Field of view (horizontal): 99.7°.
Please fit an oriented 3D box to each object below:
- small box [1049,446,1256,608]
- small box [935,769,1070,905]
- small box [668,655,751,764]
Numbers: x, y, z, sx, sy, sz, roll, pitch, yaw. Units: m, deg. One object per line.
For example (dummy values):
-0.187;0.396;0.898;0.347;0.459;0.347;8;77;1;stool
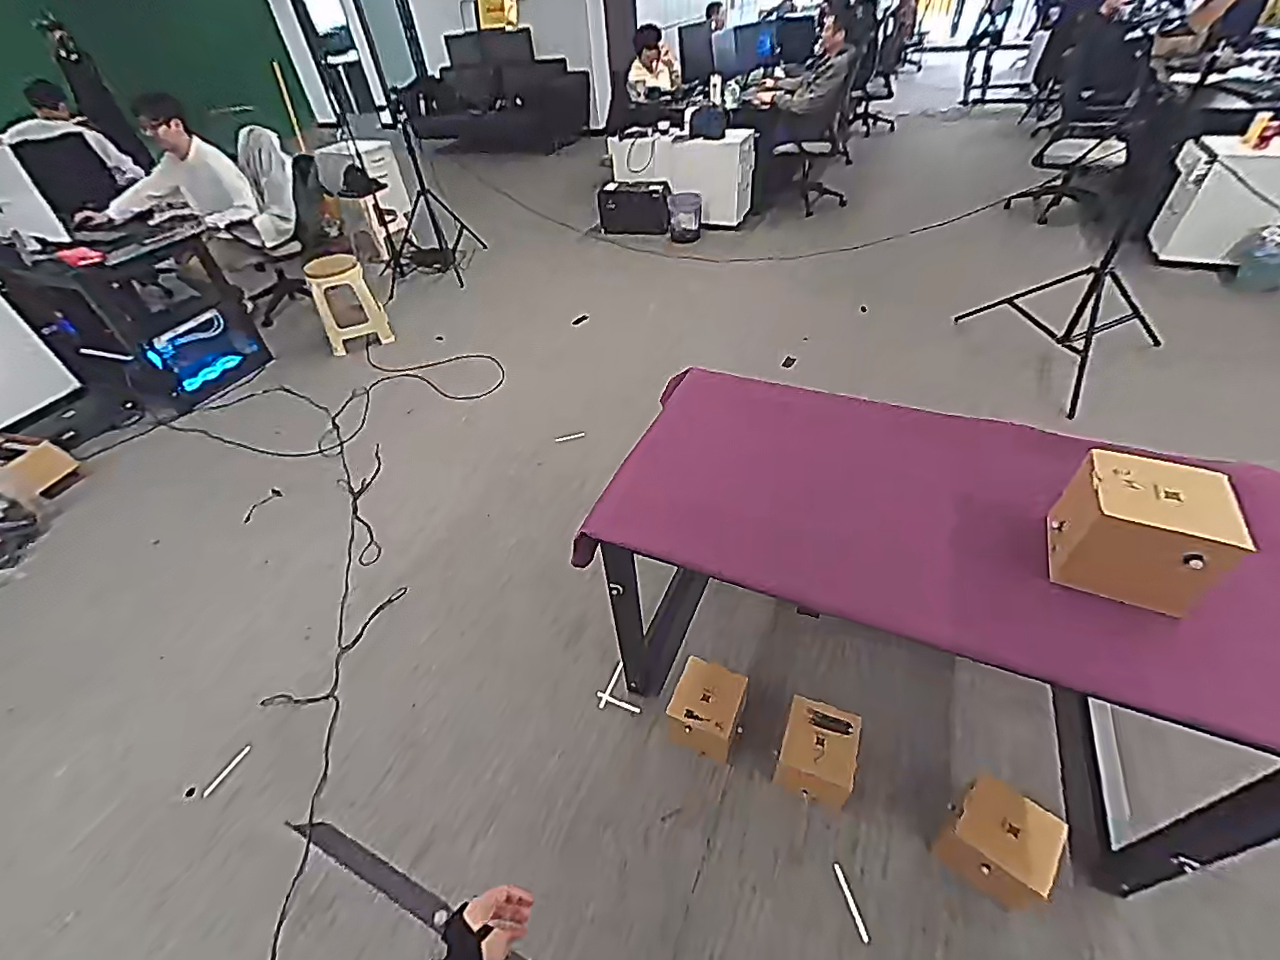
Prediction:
0.789;0.077;0.858;0.179;0.176;0.168;16;46;22;small box
0.782;0.781;1.179;0.179;0.176;0.168;28;53;33;small box
0.182;0.606;1.430;0.168;0.176;0.179;16;46;22;small box
